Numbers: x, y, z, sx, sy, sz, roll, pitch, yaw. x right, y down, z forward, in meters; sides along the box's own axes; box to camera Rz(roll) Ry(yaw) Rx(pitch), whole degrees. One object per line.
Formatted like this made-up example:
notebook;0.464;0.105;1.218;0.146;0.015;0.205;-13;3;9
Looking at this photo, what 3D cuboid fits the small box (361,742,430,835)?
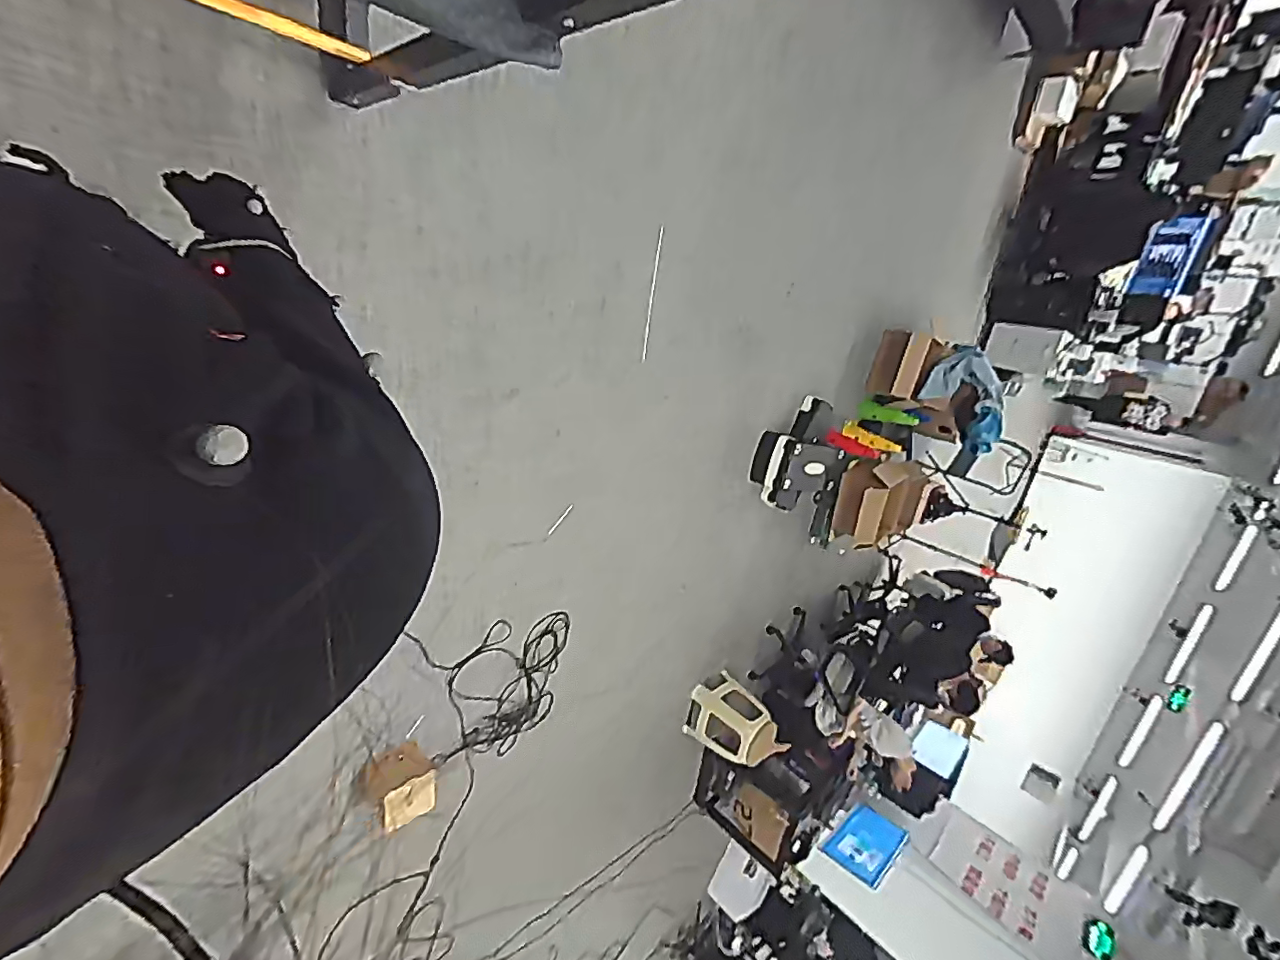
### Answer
small box;-0.830;1.036;1.832;0.168;0.176;0.179;-11;116;-45
